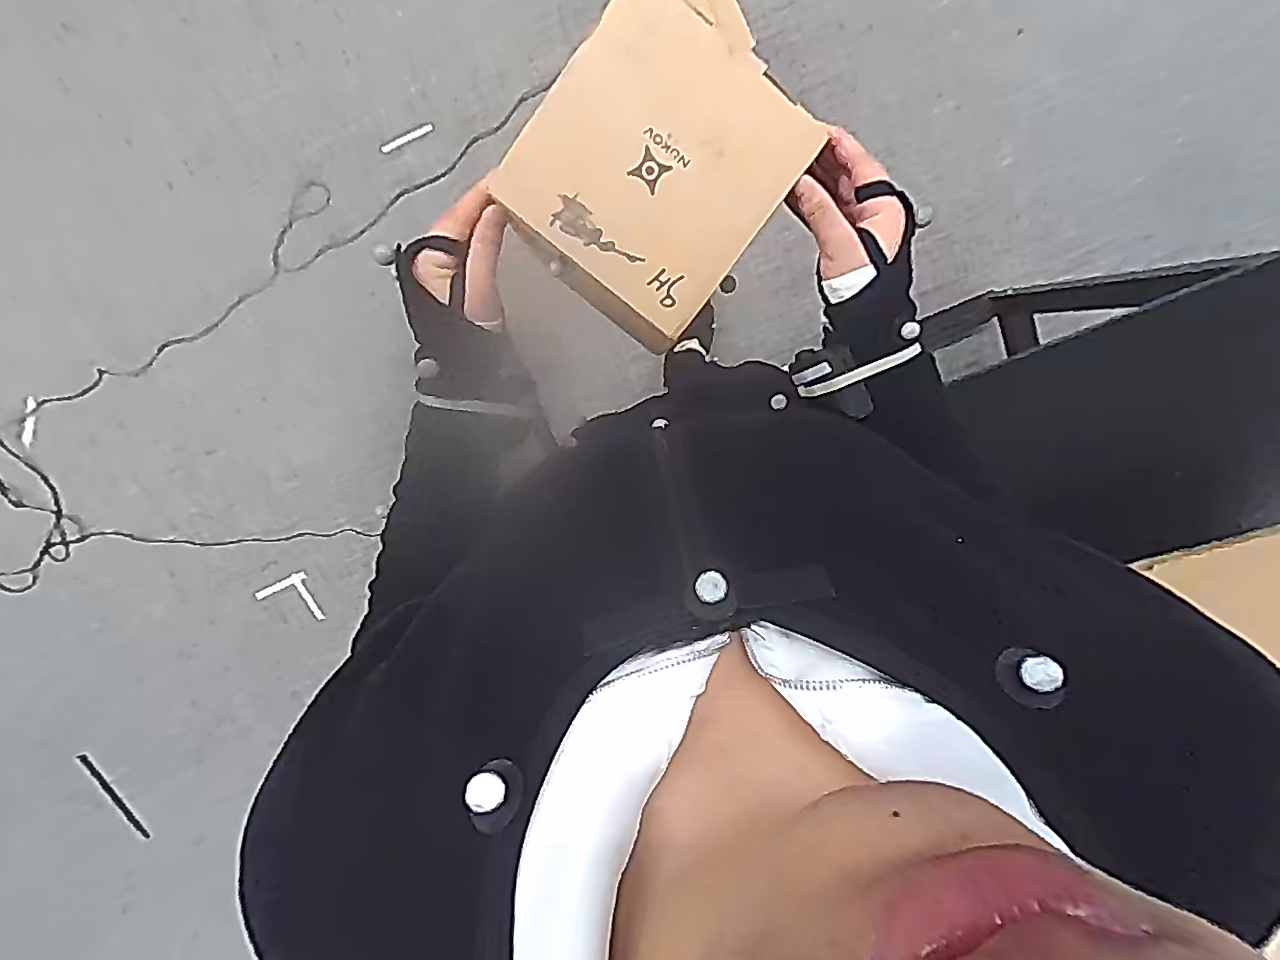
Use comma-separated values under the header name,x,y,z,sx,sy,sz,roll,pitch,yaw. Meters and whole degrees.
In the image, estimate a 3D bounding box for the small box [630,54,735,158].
name,x,y,z,sx,sy,sz,roll,pitch,yaw
small box,0.089,-0.861,1.203,0.179,0.176,0.168,-26,102,8
